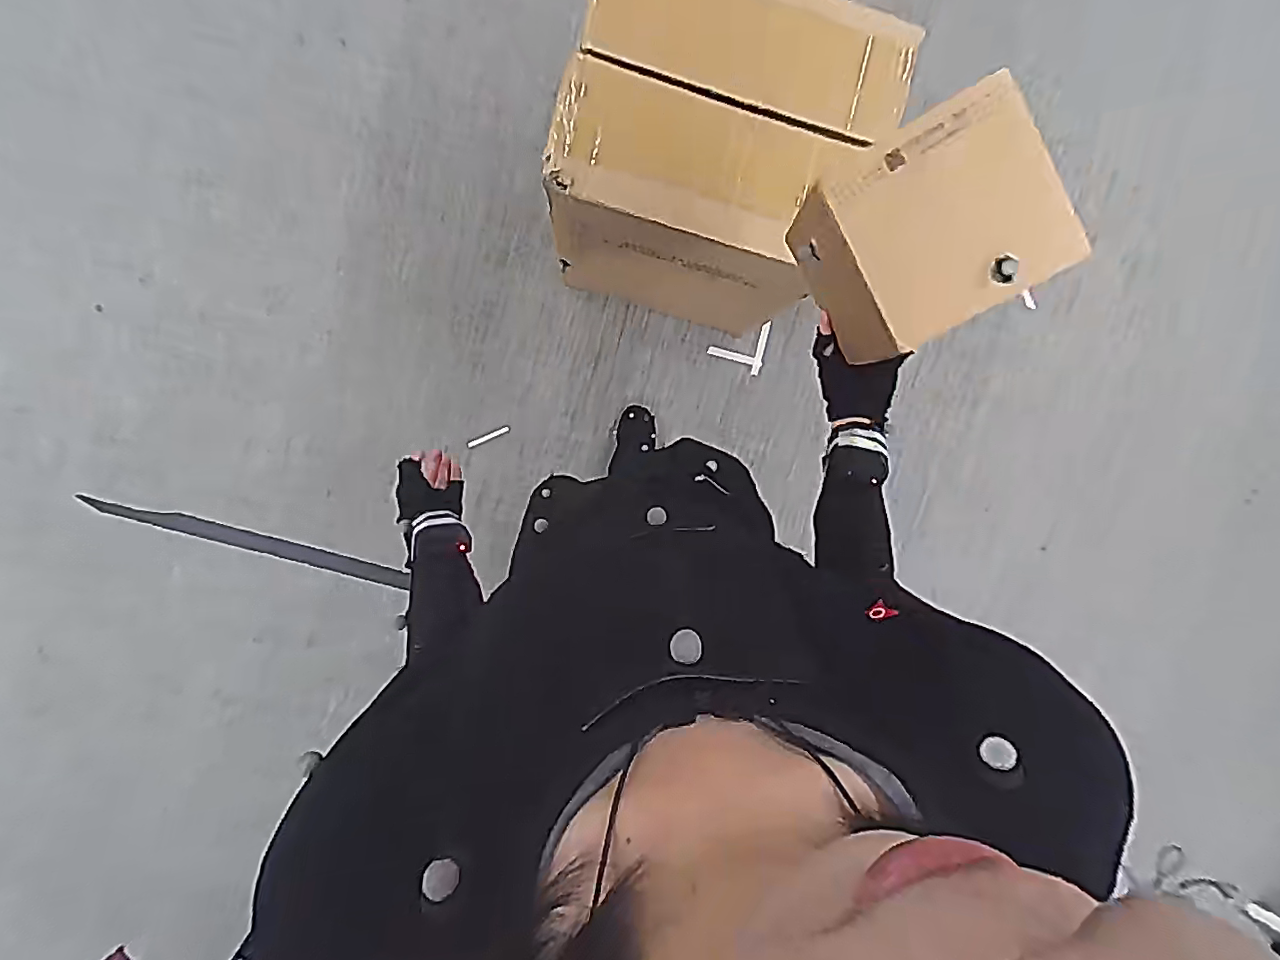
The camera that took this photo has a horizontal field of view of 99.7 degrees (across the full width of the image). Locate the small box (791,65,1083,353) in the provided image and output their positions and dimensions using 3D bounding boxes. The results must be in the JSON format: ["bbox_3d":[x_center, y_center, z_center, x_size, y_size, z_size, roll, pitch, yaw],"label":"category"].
[{"bbox_3d":[0.264,-0.244,0.529,0.168,0.179,0.176,-27,94,11],"label":"small box"}]
